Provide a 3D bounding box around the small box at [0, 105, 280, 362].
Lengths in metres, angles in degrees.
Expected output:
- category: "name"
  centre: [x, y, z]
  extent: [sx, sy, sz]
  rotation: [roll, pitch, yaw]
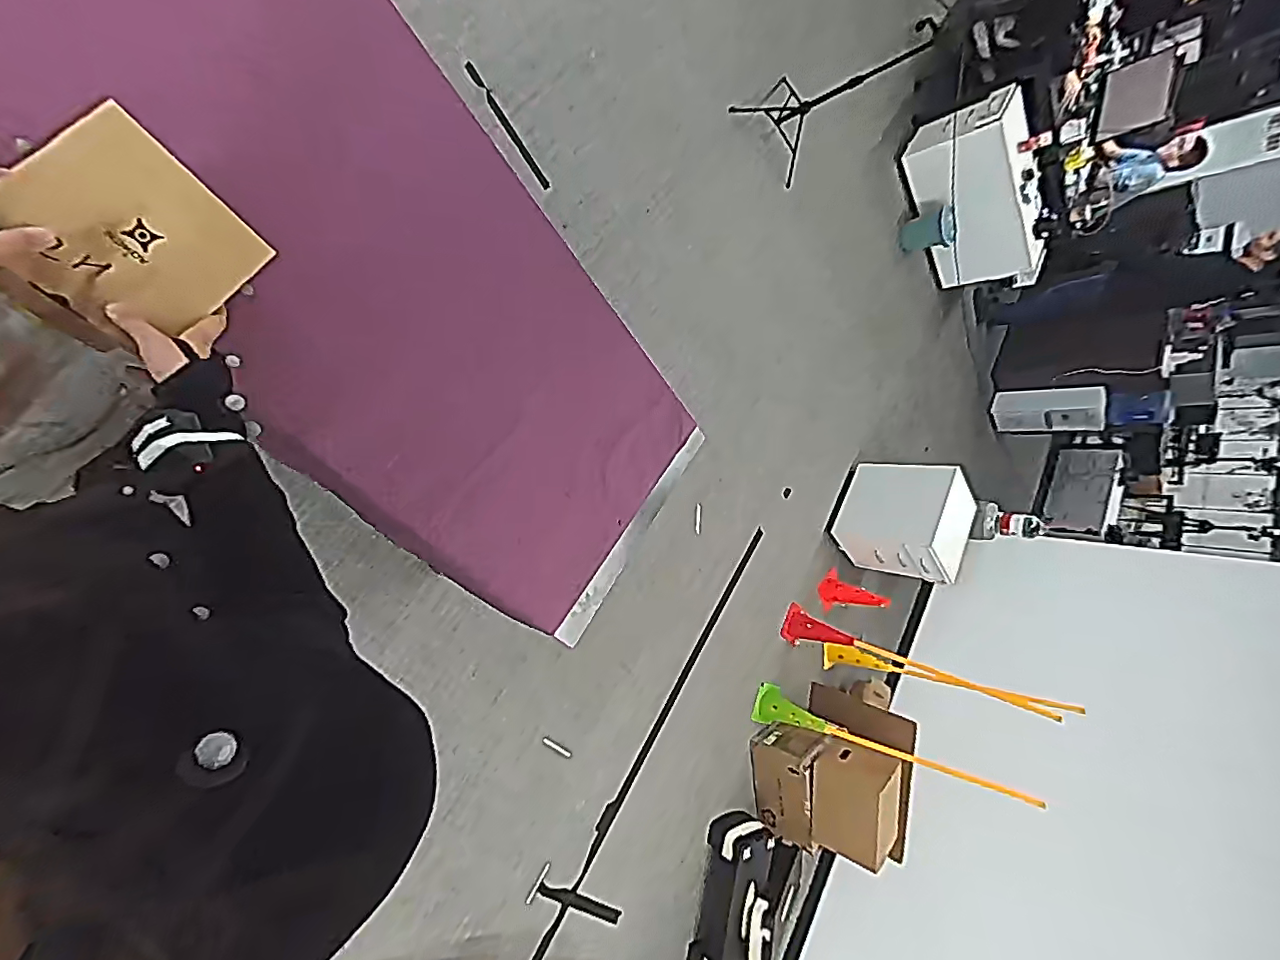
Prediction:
- category: "small box"
  centre: [-0.540, -0.249, 0.571]
  extent: [0.179, 0.176, 0.168]
  rotation: [-58, 138, -19]
